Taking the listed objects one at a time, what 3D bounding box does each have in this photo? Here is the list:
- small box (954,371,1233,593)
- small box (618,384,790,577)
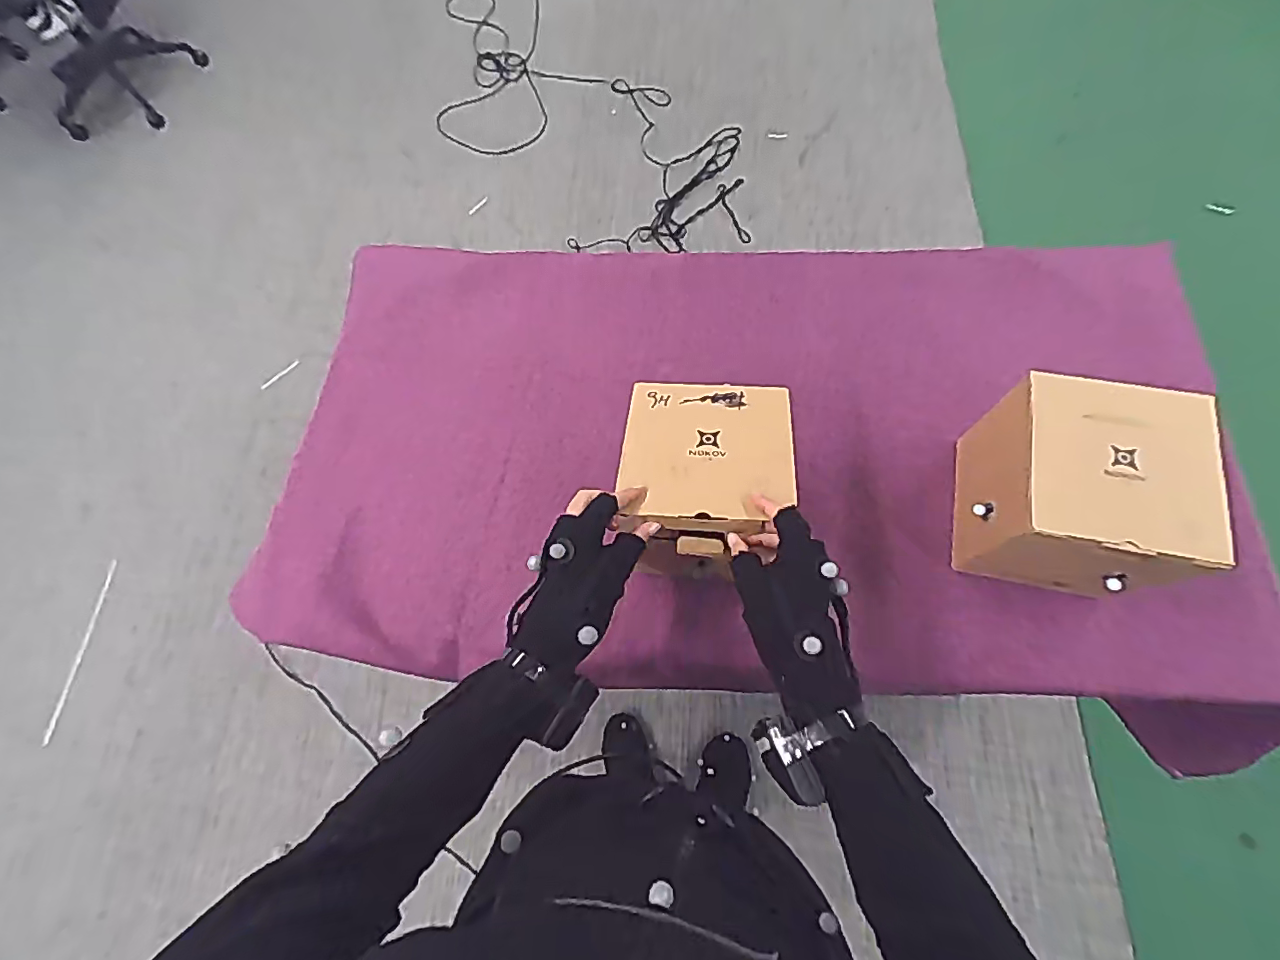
[{"bbox_3d":[0.461,0.012,0.581,0.168,0.176,0.179,11,70,10],"label":"small box"},{"bbox_3d":[0.075,0.009,0.621,0.168,0.176,0.179,3,69,7],"label":"small box"}]
